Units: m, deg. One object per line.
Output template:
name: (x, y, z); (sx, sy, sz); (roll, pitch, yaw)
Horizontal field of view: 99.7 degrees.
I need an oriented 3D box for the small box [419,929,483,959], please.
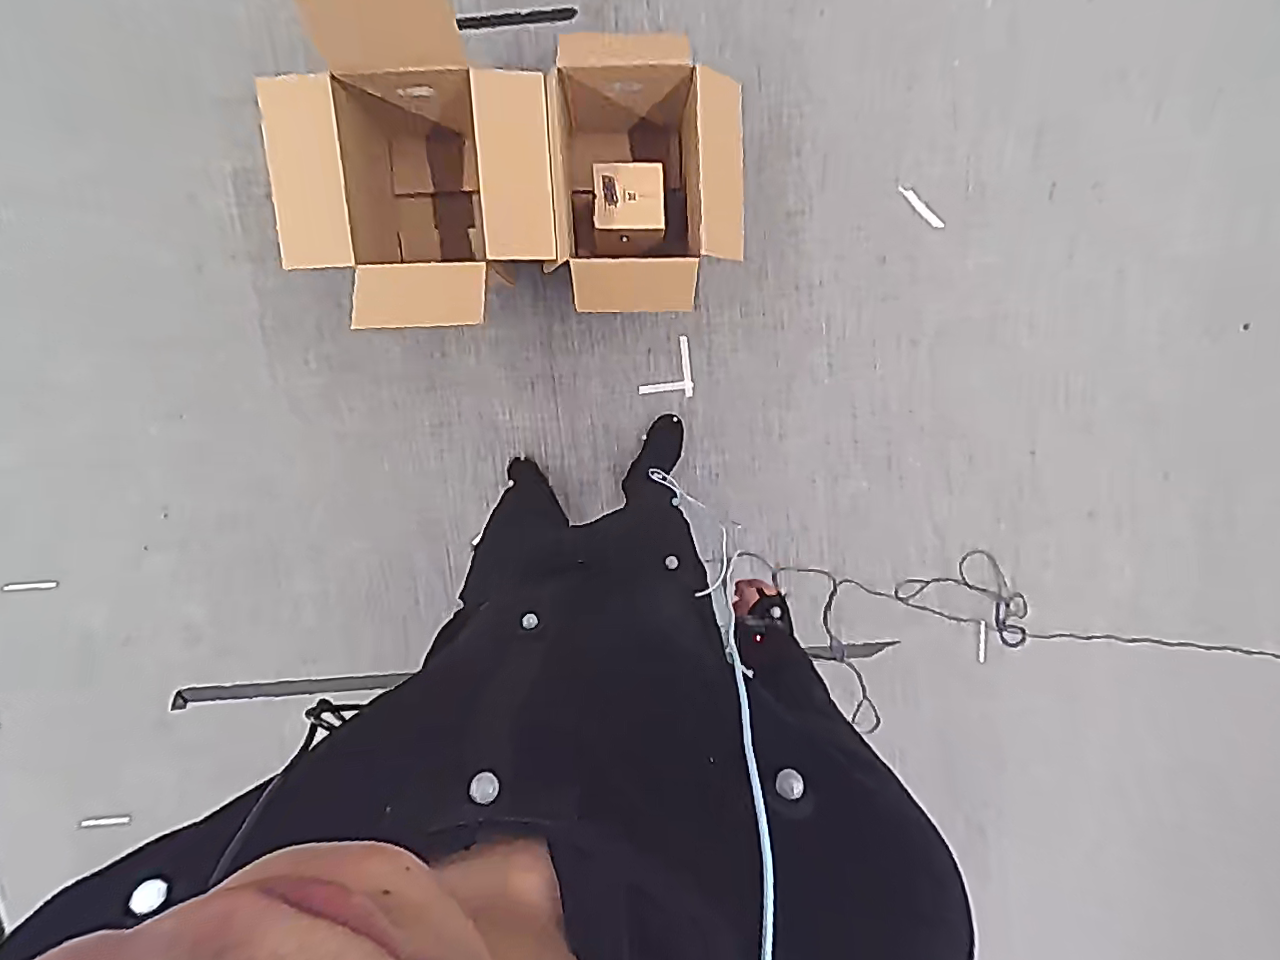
small box: (-0.584, 1.514, 1.647); (0.168, 0.176, 0.179); (-3, 100, -1)
